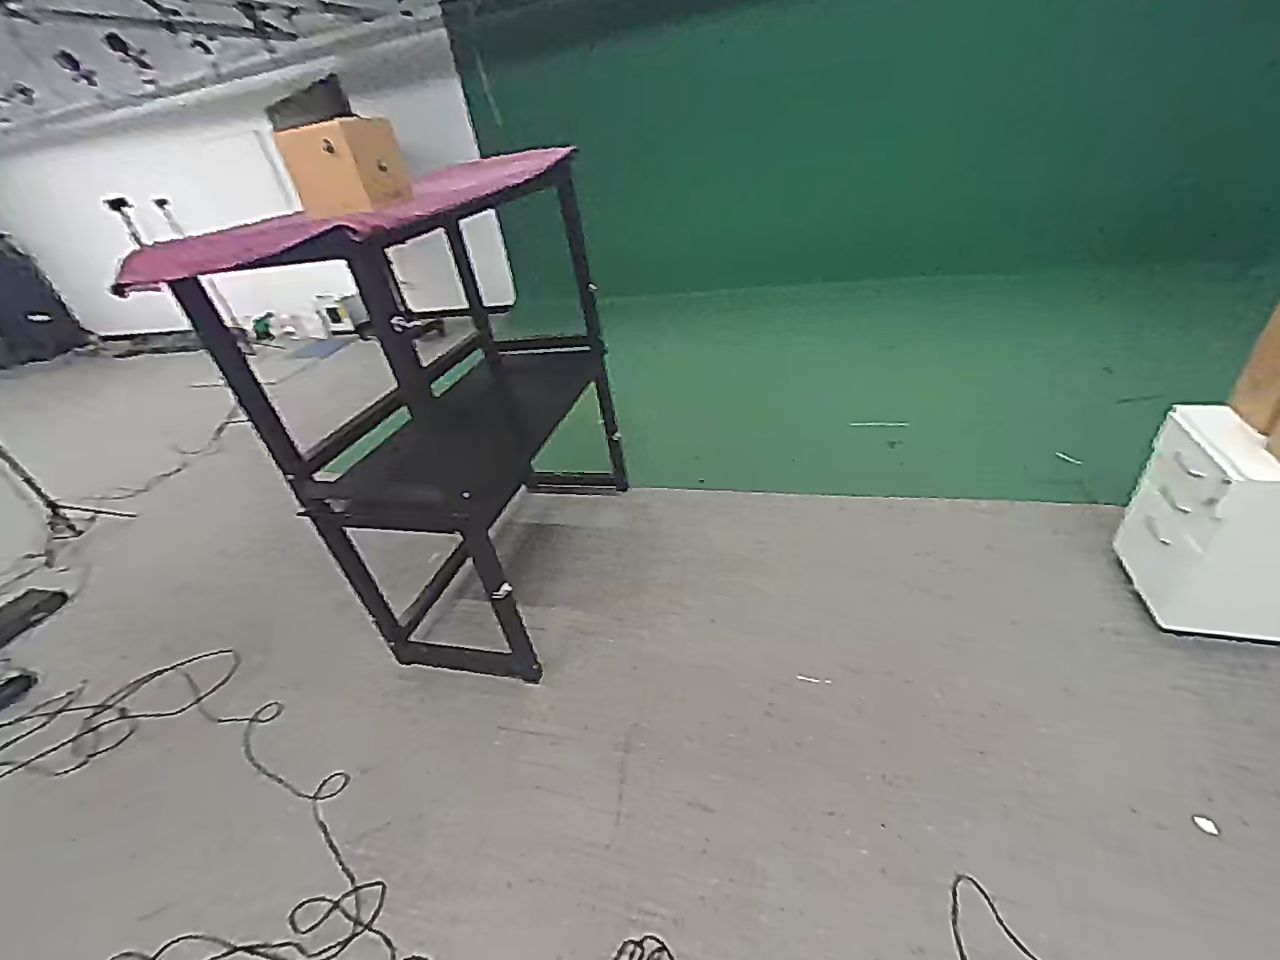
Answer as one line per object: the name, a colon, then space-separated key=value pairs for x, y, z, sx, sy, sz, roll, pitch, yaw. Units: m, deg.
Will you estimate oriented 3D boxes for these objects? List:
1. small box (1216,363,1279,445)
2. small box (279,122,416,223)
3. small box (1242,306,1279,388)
small box: x=1.759 y=-0.208 z=1.484 sx=0.168 sy=0.176 sz=0.179 roll=3 pitch=37 yaw=17
small box: x=-0.628 y=-0.675 z=1.189 sx=0.179 sy=0.176 sz=0.168 roll=1 pitch=33 yaw=16
small box: x=1.735 y=-0.343 z=1.393 sx=0.168 sy=0.176 sz=0.179 roll=4 pitch=38 yaw=19
